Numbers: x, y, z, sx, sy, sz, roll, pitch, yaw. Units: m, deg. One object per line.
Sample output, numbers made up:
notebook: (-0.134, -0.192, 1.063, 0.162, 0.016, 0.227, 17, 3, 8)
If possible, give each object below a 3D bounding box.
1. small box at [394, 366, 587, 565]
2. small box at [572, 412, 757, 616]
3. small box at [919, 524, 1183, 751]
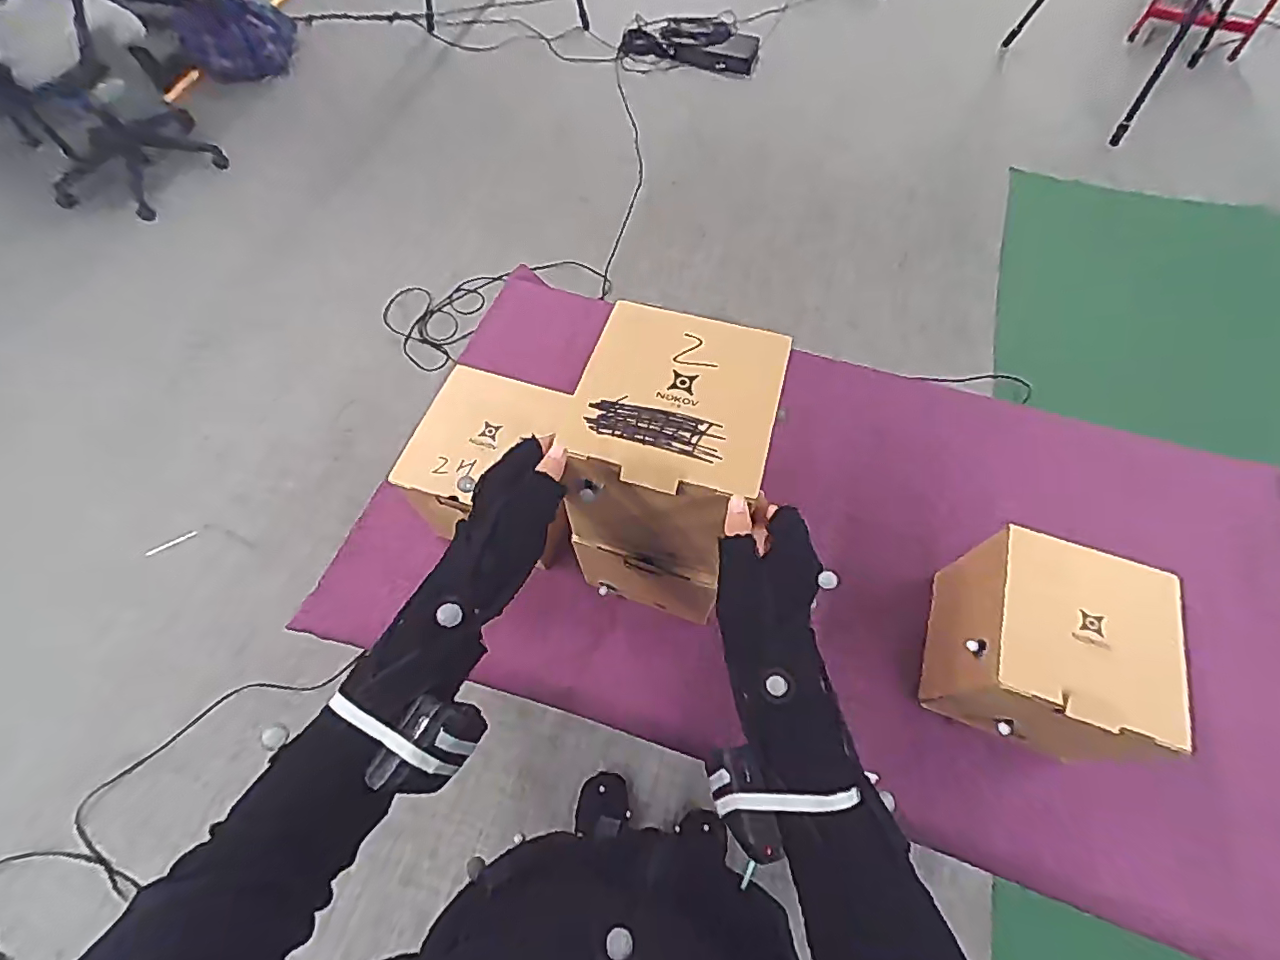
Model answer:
small box: (-0.176, -0.013, 0.705, 0.168, 0.176, 0.179, 16, 64, 9)
small box: (0.033, 0.050, 0.672, 0.168, 0.176, 0.179, 18, 64, 9)
small box: (0.435, 0.179, 0.599, 0.168, 0.176, 0.179, 19, 64, 10)
